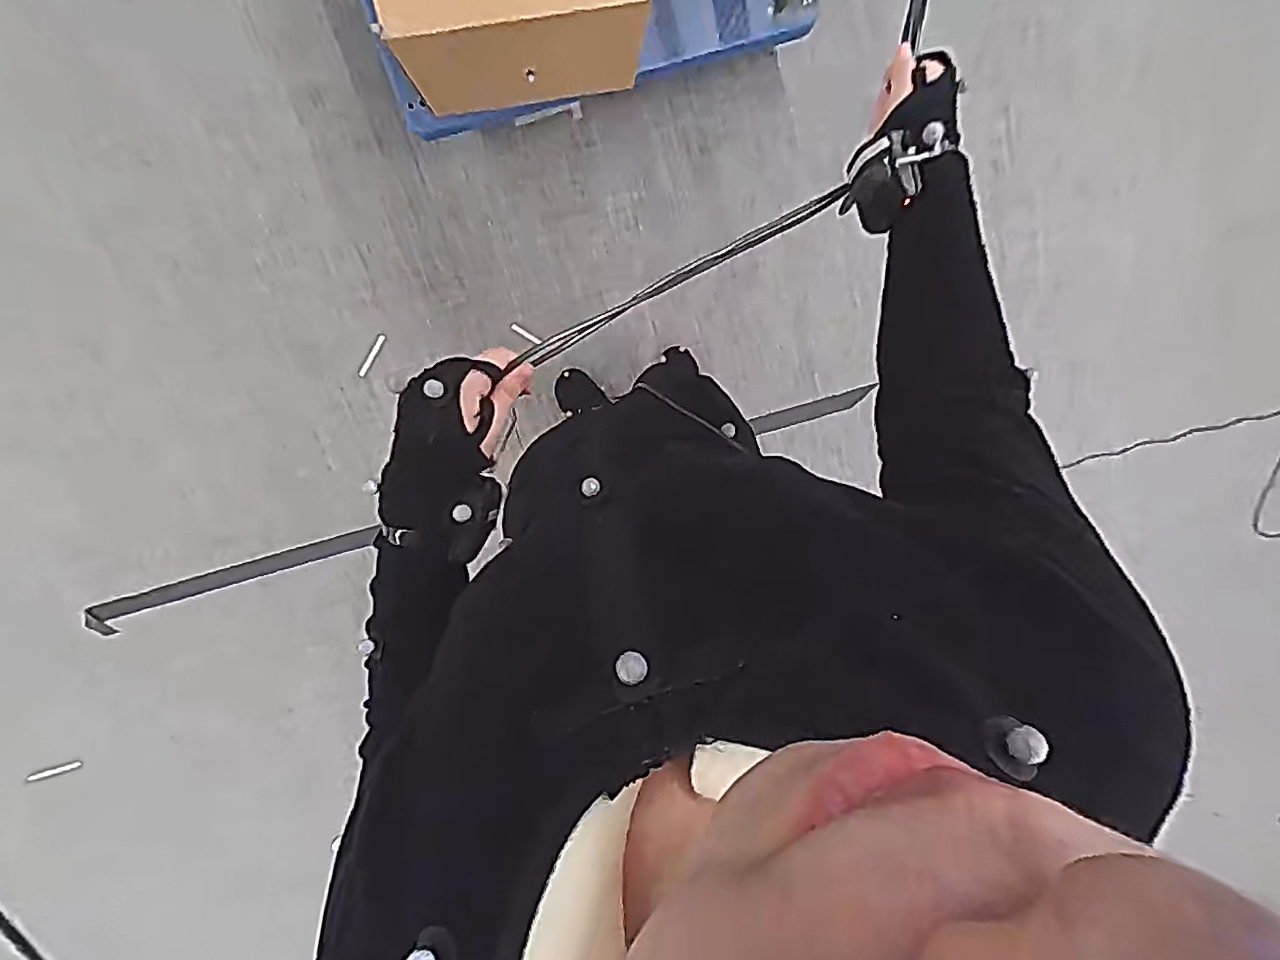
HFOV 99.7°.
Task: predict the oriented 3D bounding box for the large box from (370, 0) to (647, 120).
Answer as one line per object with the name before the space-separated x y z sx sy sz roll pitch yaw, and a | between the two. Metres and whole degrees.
large box | -0.222 -0.853 0.899 0.408 0.320 0.320 -11 105 -2
